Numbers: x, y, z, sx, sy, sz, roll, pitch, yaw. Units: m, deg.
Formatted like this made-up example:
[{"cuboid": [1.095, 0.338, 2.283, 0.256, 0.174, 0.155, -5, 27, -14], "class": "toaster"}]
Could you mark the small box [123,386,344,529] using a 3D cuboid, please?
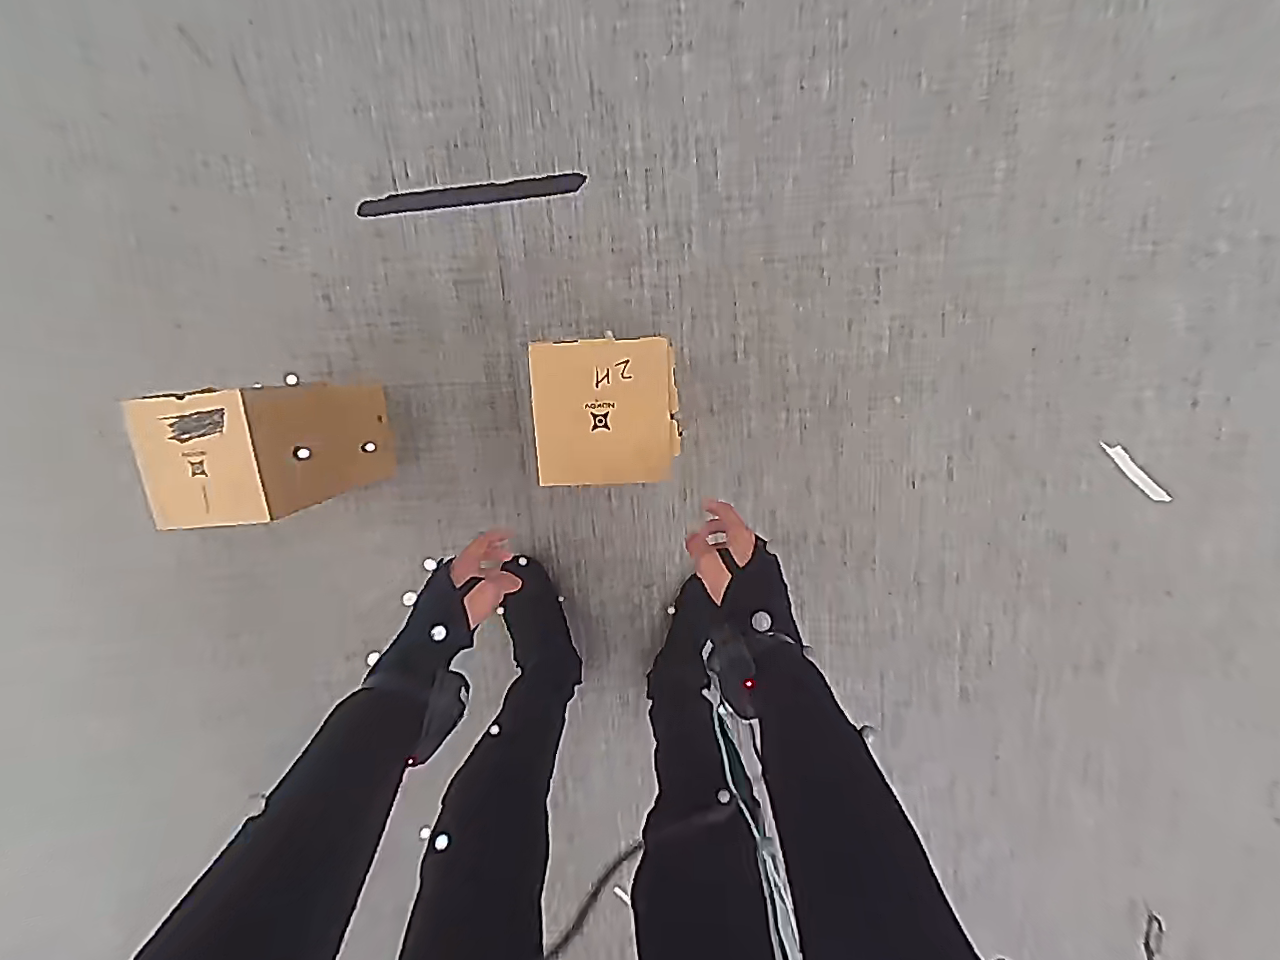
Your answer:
[{"cuboid": [-0.557, -0.041, 0.766, 0.168, 0.176, 0.179, -3, 103, 5], "class": "small box"}]

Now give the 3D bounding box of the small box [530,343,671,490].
[{"cuboid": [-0.042, -0.091, 0.725, 0.168, 0.176, 0.179, -1, 102, 3], "class": "small box"}]

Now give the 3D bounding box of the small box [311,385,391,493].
[{"cuboid": [-0.552, -0.072, 0.928, 0.179, 0.176, 0.168, -4, 102, 5], "class": "small box"}]
